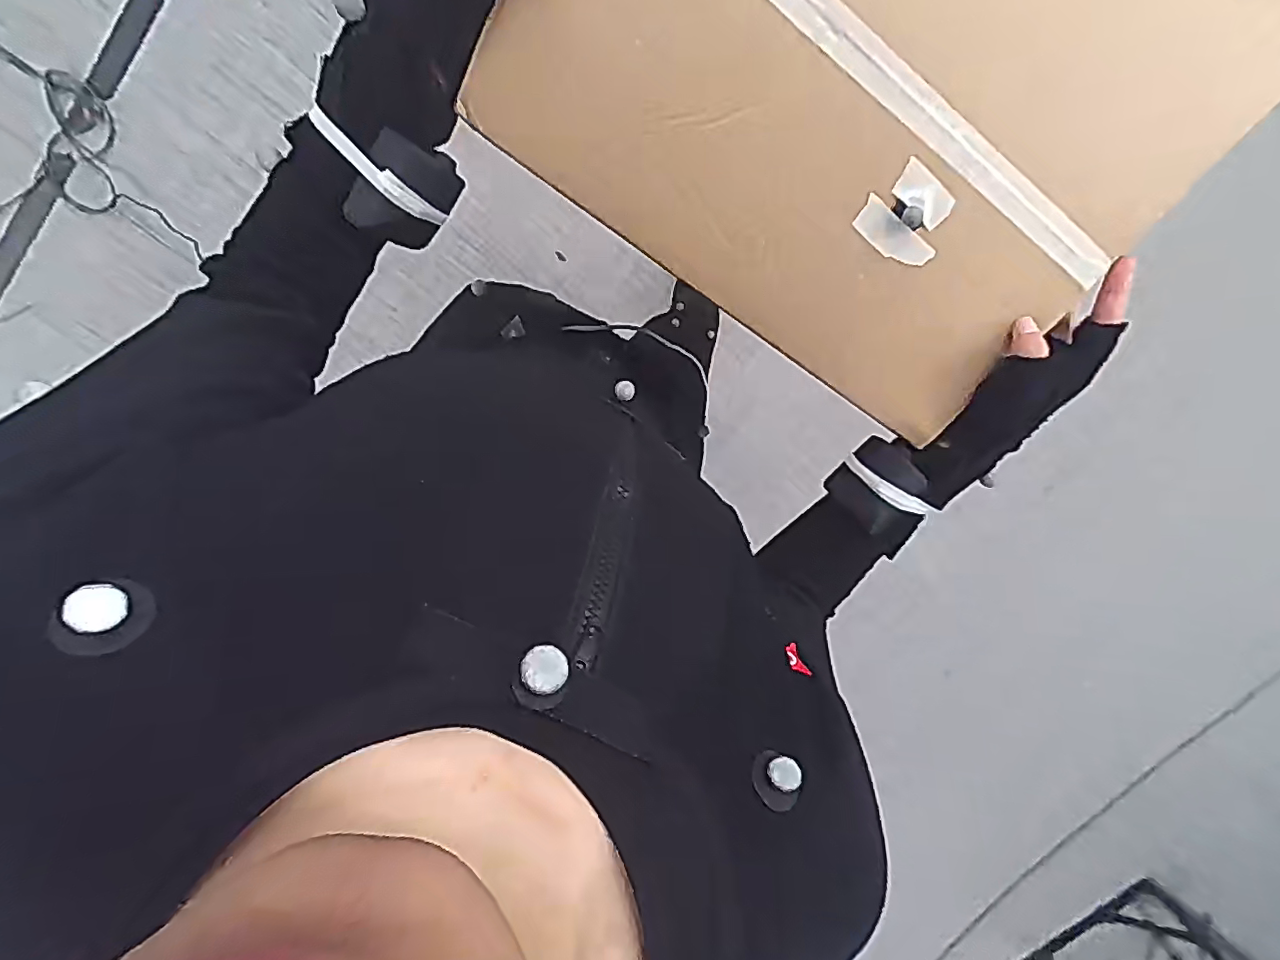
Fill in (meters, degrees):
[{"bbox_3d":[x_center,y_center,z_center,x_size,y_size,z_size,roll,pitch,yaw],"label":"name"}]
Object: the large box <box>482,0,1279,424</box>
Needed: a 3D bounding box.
[{"bbox_3d":[0.145,-0.320,0.456,0.408,0.320,0.320,30,117,-16],"label":"large box"}]
